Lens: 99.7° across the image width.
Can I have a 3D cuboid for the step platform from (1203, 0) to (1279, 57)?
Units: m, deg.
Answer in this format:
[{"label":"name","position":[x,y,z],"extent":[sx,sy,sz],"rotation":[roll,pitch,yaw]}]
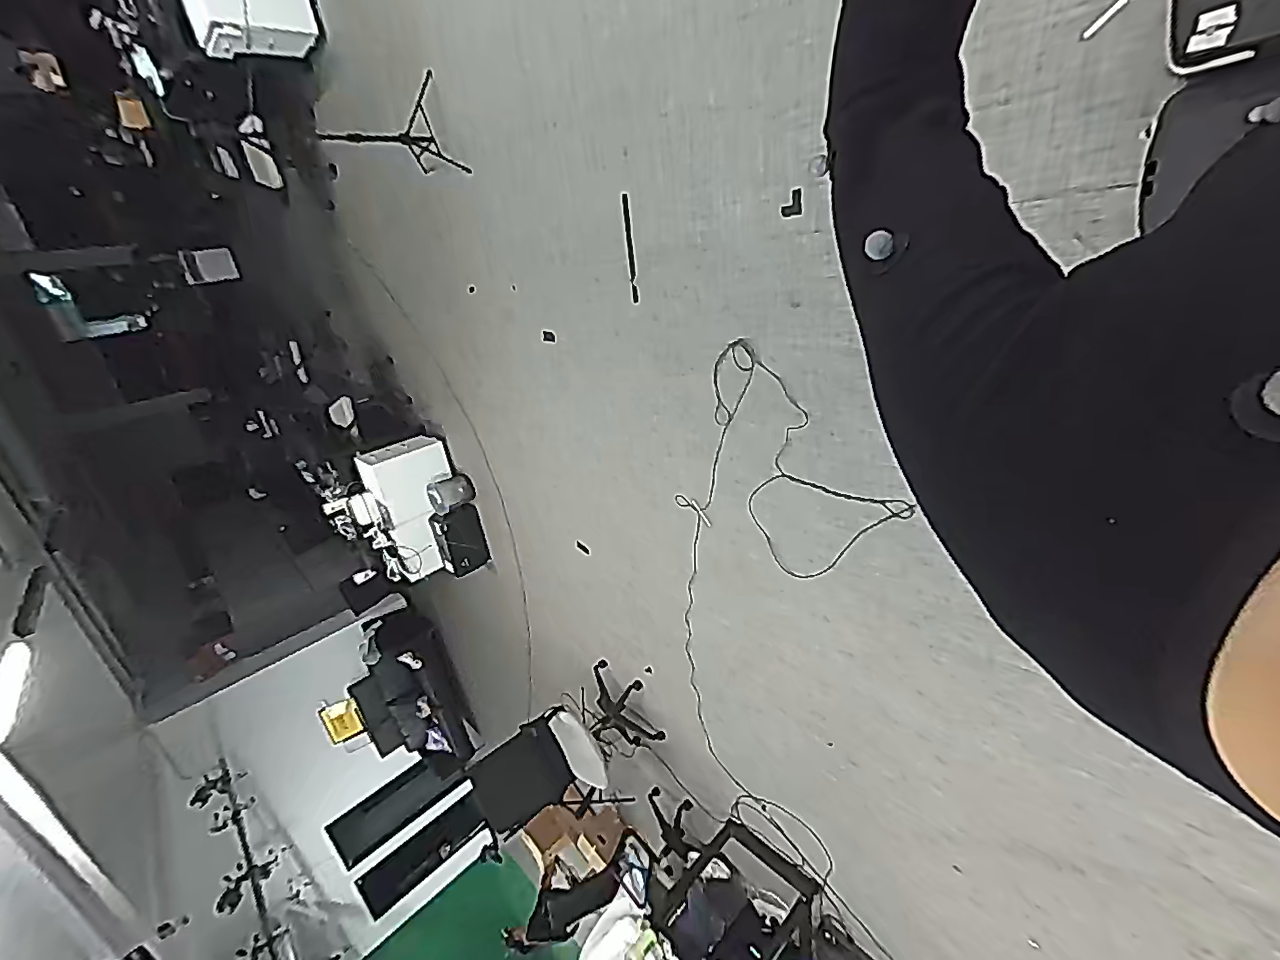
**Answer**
[{"label":"step platform","position":[1.153,-0.788,0.630],"extent":[0.684,0.204,0.286],"rotation":[13,121,45]}]
